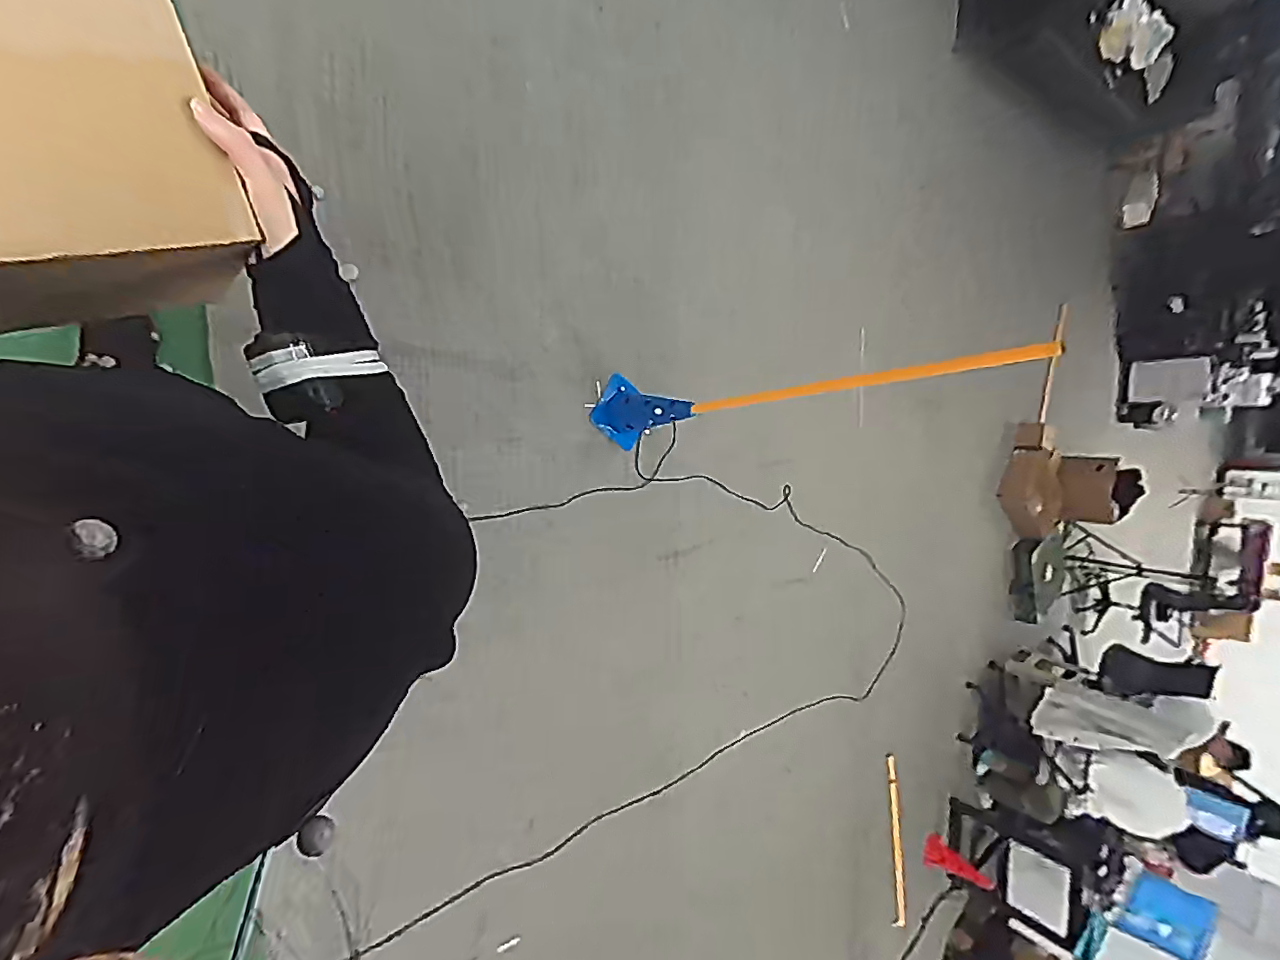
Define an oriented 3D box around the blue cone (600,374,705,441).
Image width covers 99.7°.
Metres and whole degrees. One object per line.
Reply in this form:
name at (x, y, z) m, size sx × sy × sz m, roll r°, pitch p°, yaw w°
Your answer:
blue cone at (0.057, -0.231, 1.676) m, size 0.193 × 0.380 × 0.192 m, roll 34°, pitch 73°, yaw -33°
